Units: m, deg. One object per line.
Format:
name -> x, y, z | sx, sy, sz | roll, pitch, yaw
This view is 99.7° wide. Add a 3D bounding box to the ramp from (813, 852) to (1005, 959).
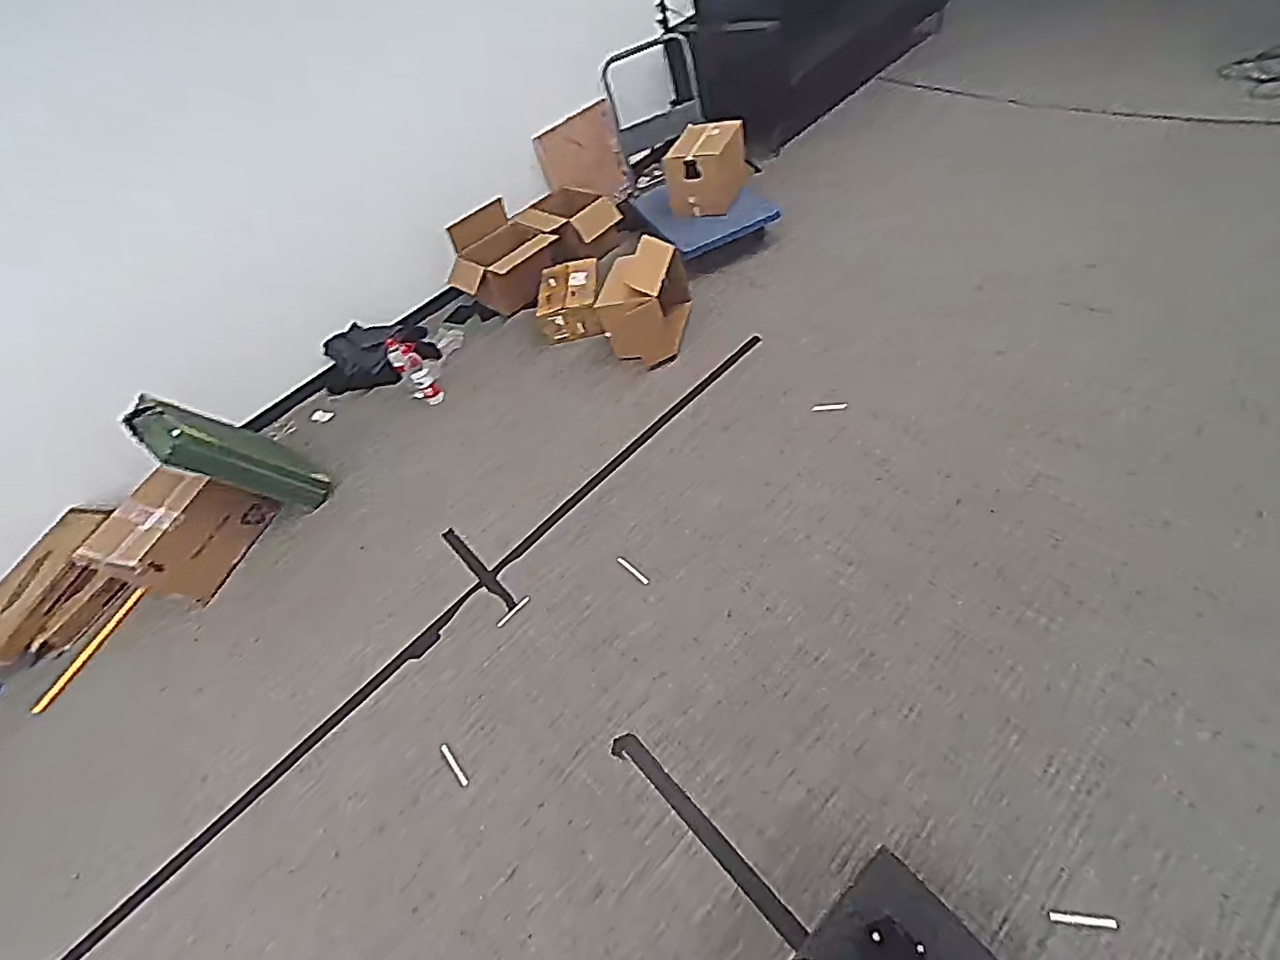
ramp -> 0.692, 1.199, 0.832 | 0.509, 0.206, 0.991 | -43, 52, -19
